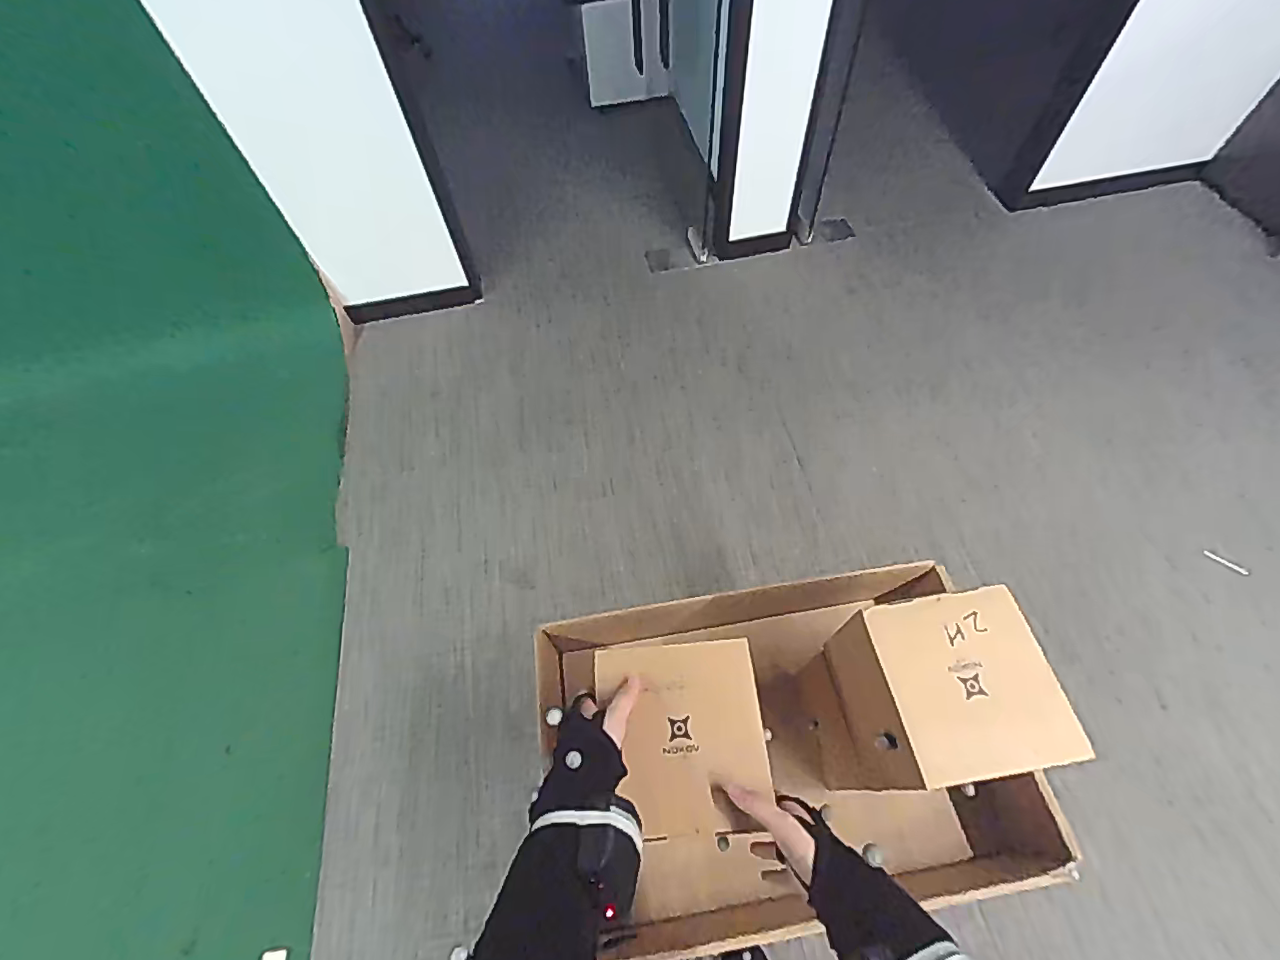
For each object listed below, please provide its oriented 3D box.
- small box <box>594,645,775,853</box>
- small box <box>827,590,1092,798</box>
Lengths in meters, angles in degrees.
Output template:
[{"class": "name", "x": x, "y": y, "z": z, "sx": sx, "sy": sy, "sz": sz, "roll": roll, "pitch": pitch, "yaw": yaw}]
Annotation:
[{"class": "small box", "x": 0.041, "y": 0.295, "z": 0.596, "sx": 0.168, "sy": 0.176, "sz": 0.179, "roll": -4, "pitch": 58, "yaw": -1}, {"class": "small box", "x": 0.331, "y": 0.244, "z": 0.606, "sx": 0.168, "sy": 0.176, "sz": 0.179, "roll": -9, "pitch": 59, "yaw": -2}]
